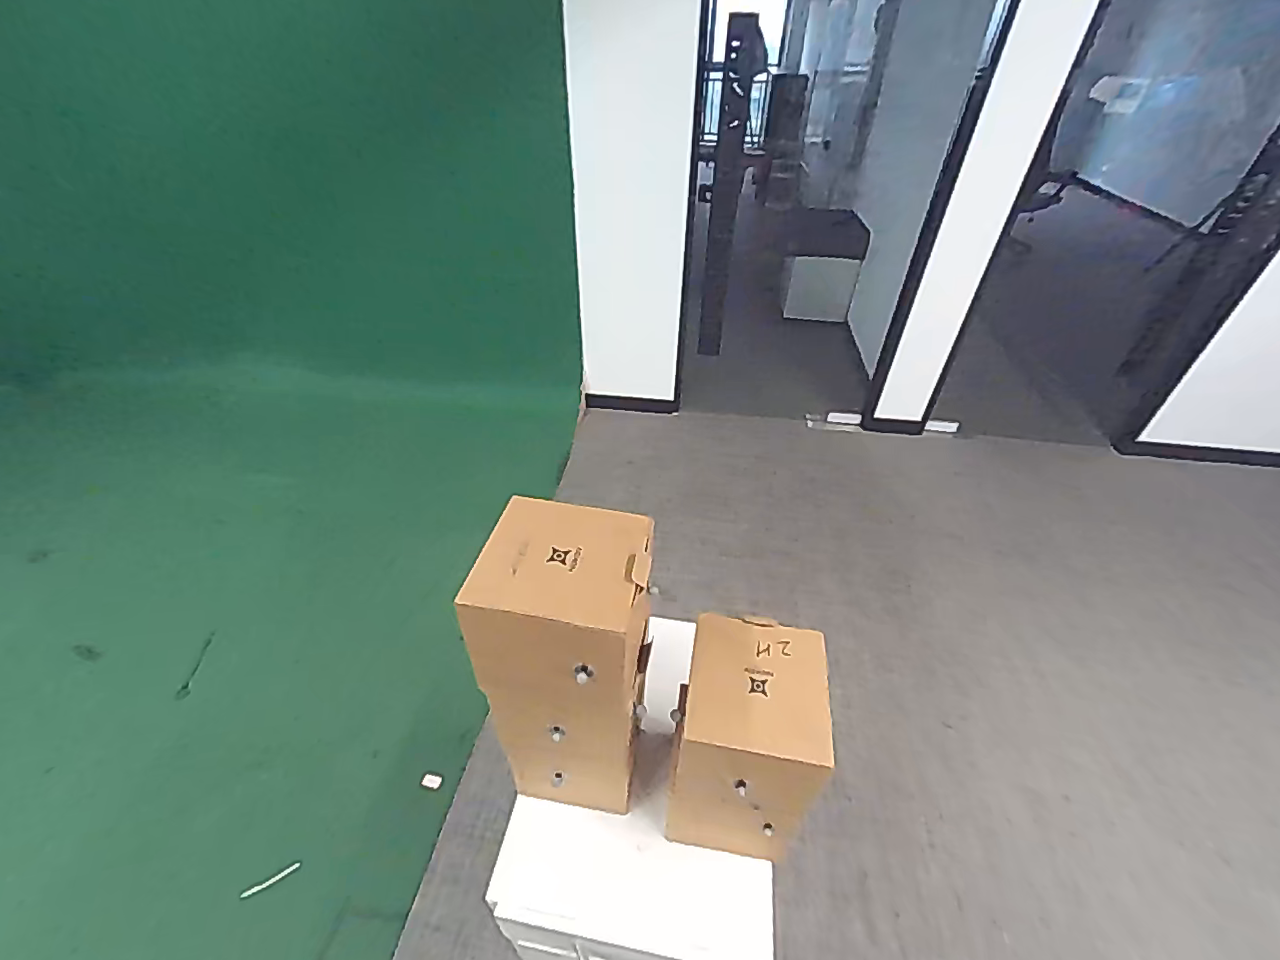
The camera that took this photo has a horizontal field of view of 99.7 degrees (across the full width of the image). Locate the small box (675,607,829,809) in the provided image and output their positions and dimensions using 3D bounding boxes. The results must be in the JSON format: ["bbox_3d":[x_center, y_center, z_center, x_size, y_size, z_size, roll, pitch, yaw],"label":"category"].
[{"bbox_3d":[0.140,0.298,0.706,0.168,0.176,0.179,8,41,7],"label":"small box"}]

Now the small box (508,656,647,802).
[{"bbox_3d":[-0.090,0.382,0.854,0.179,0.176,0.168,8,42,5],"label":"small box"}]

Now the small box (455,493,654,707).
[{"bbox_3d":[-0.085,0.141,0.631,0.179,0.176,0.168,8,40,7],"label":"small box"}]
